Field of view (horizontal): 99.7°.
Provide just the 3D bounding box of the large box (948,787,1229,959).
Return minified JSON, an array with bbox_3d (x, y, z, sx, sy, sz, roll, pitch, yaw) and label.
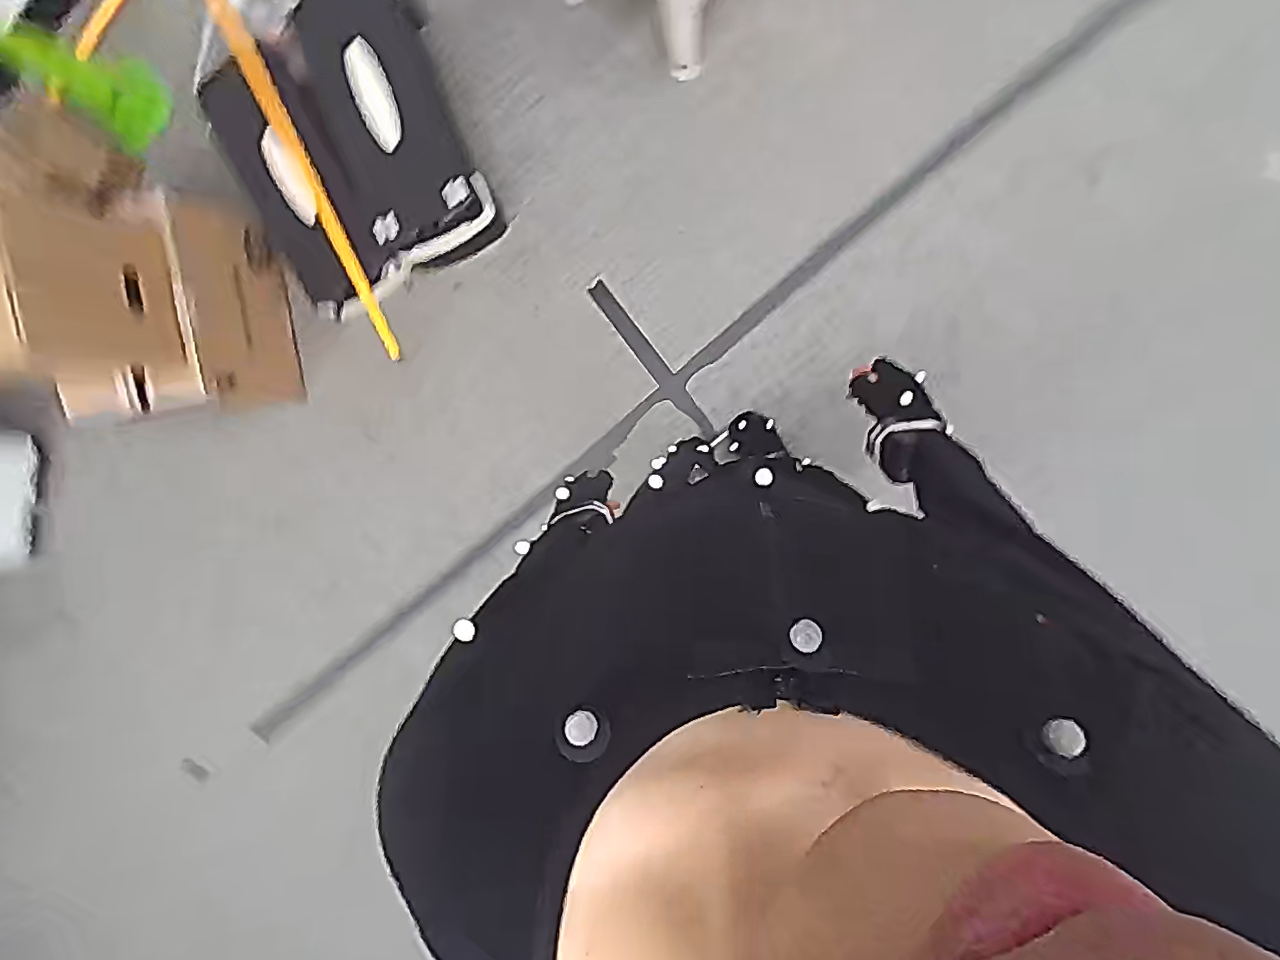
[{"bbox_3d":[1.088,1.058,1.369,0.408,0.320,0.320,13,99,6],"label":"large box"}]
